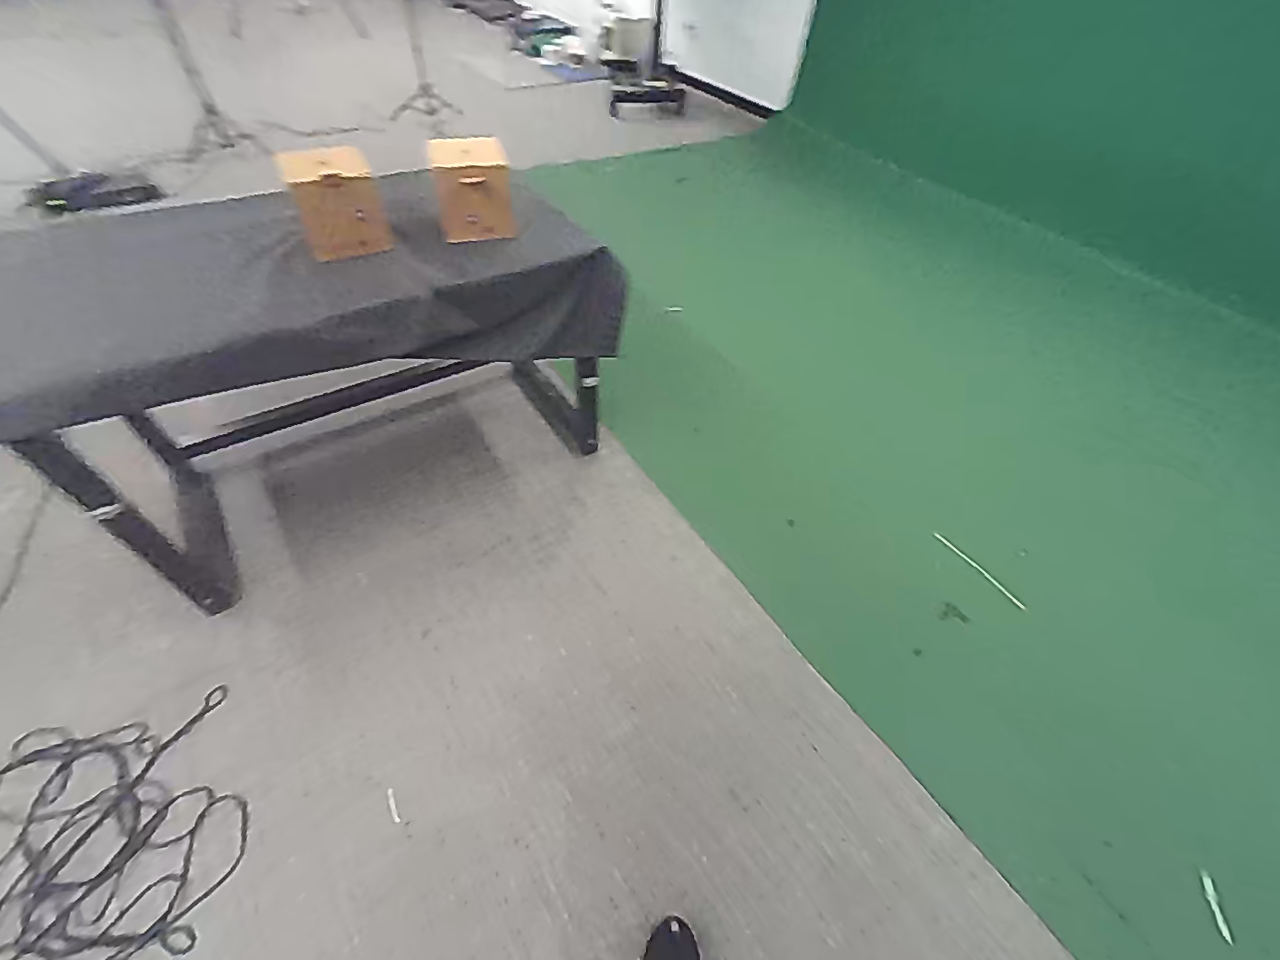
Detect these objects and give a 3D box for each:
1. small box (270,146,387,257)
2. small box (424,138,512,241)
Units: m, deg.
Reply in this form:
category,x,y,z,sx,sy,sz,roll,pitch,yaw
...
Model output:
category,x,y,z,sx,sy,sz,roll,pitch,yaw
small box,-0.678,-0.608,1.191,0.168,0.176,0.179,-22,53,-23
small box,-0.406,-0.689,1.283,0.168,0.176,0.179,-12,52,-15
